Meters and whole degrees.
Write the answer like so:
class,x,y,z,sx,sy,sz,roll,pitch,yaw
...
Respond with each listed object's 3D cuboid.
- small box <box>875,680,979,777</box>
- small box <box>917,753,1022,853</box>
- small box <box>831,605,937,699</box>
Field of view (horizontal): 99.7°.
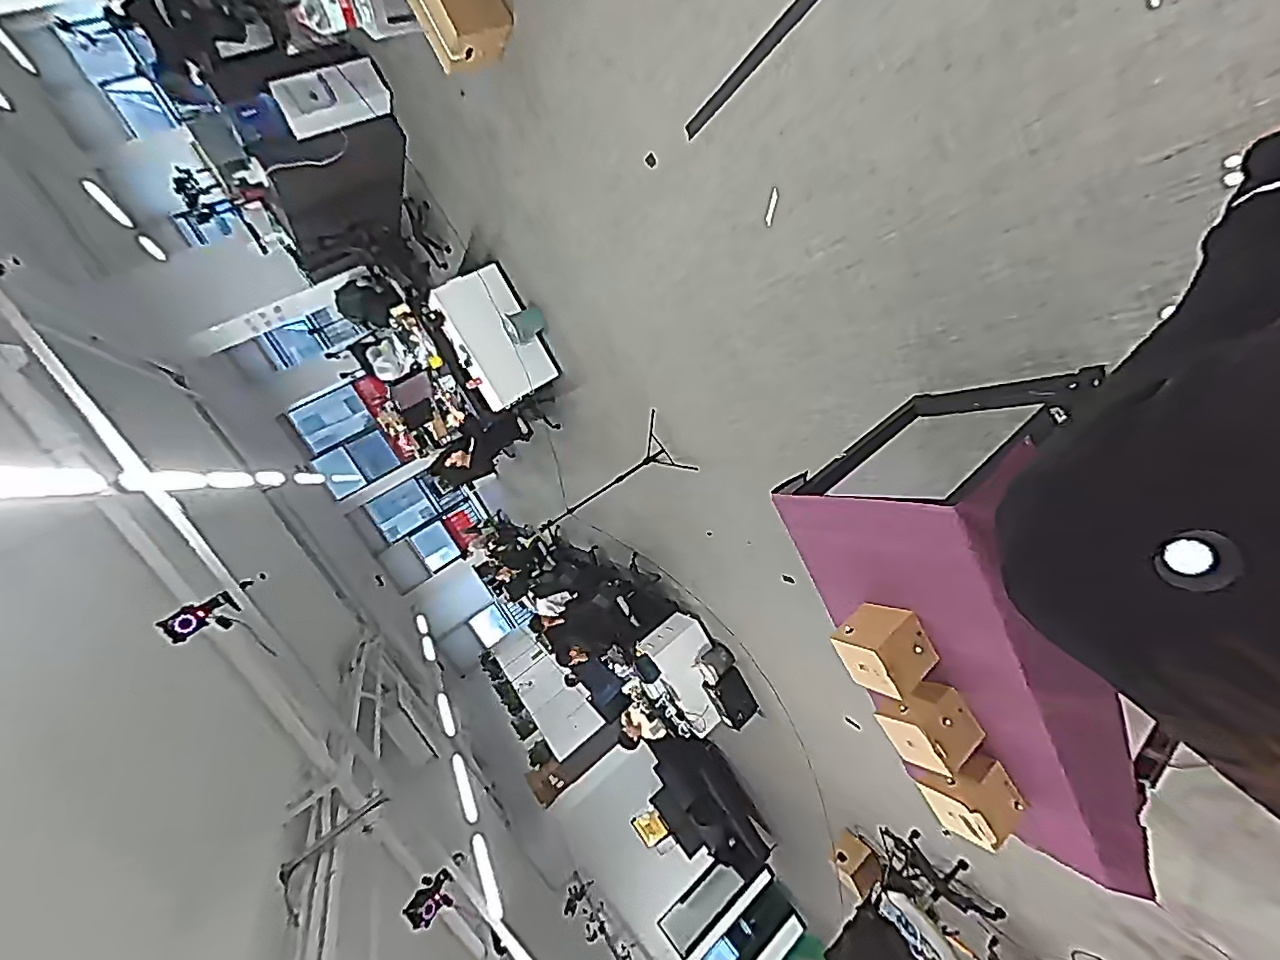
class,x,y,z,sx,sy,sz,roll,pitch,yaw
small box,0.819,0.691,1.531,0.168,0.176,0.179,57,159,-1
small box,0.951,0.904,1.551,0.168,0.176,0.179,57,159,-2
small box,0.678,0.468,1.503,0.168,0.176,0.179,59,158,-9
